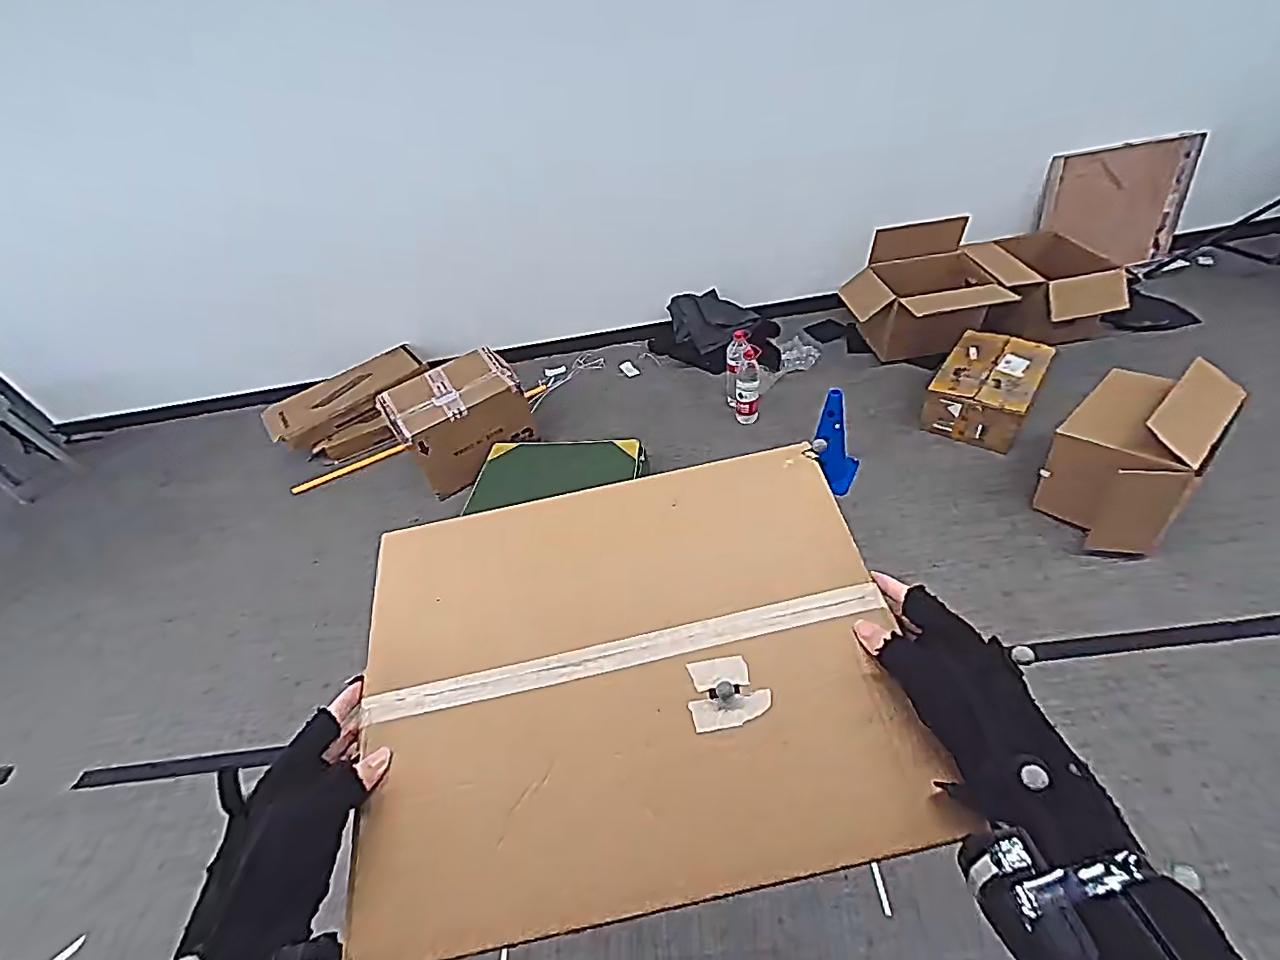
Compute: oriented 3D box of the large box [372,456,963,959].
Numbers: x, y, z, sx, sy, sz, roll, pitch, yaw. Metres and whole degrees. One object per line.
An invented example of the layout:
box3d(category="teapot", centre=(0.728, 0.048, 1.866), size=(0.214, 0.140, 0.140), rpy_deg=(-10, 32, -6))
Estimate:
box3d(category="large box", centre=(0.007, 0.225, 0.554), size=(0.408, 0.320, 0.320), rpy_deg=(-12, 56, -1))
